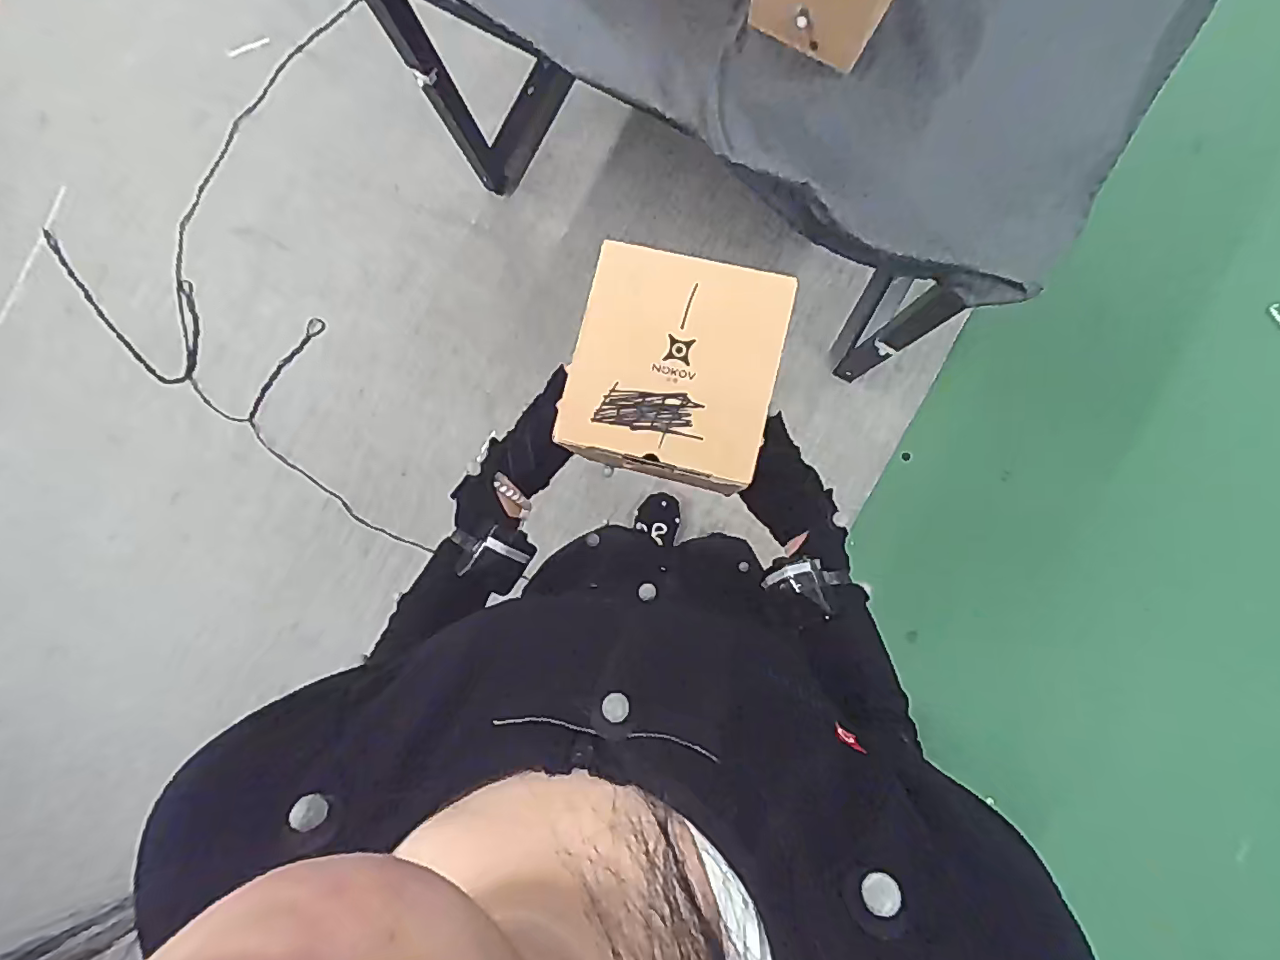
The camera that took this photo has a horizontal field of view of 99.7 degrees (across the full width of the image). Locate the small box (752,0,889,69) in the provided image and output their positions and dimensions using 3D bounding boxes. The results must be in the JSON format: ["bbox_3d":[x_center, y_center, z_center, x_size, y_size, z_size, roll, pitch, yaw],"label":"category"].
[{"bbox_3d":[0.259,-0.691,0.687,0.168,0.176,0.179,31,91,3],"label":"small box"}]

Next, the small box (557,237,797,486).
[{"bbox_3d":[0.035,-0.096,0.520,0.168,0.176,0.179,14,87,4],"label":"small box"}]
